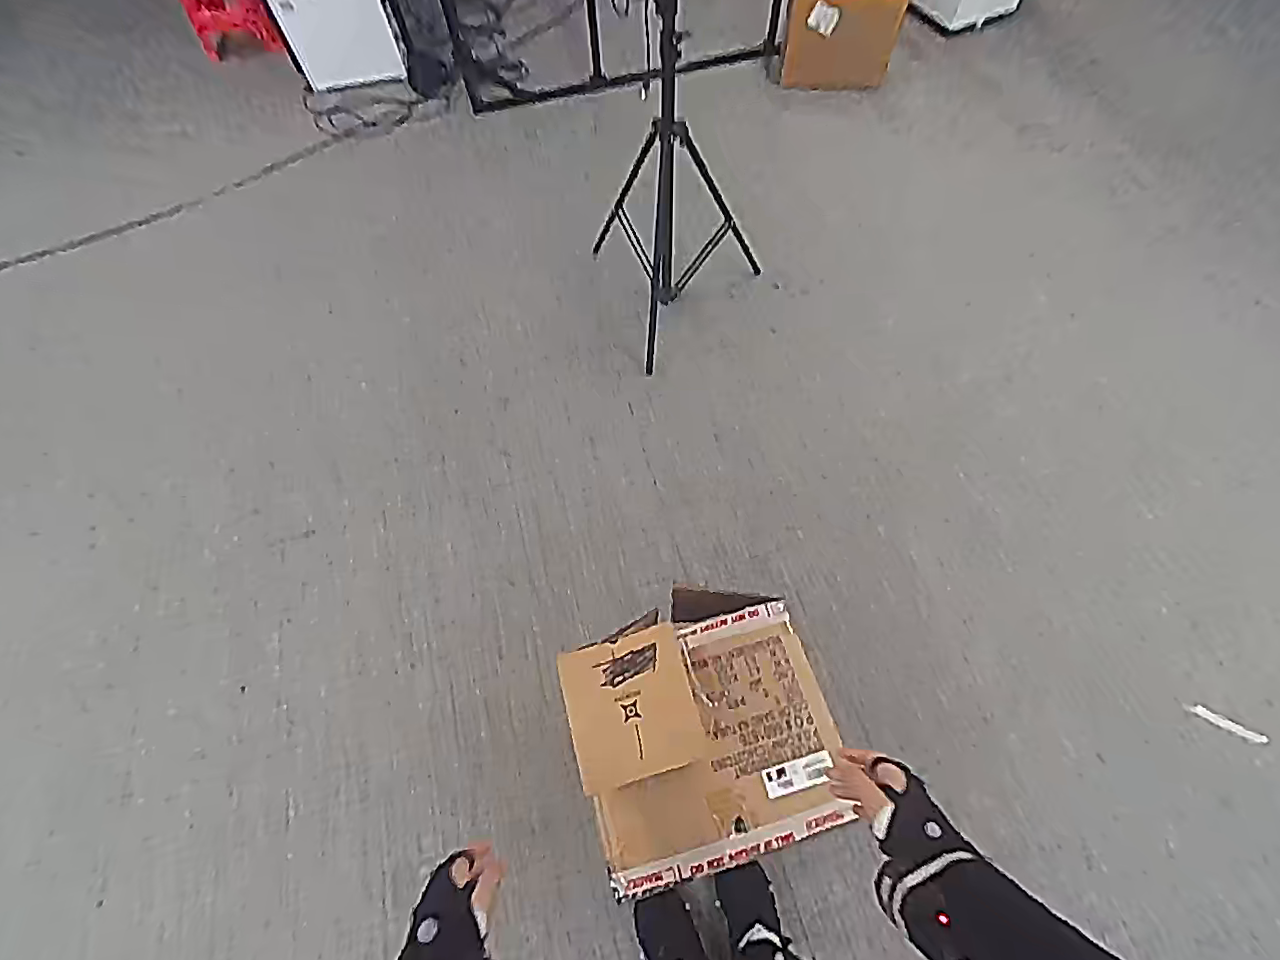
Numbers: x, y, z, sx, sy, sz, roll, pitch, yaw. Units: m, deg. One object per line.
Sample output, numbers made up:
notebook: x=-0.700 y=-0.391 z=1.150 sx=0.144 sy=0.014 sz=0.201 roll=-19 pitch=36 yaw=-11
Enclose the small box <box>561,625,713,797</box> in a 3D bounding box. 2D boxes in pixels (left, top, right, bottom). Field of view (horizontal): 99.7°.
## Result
small box: x=-0.004 y=0.329 z=0.776 sx=0.168 sy=0.176 sz=0.179 roll=-16 pitch=66 yaw=-3
